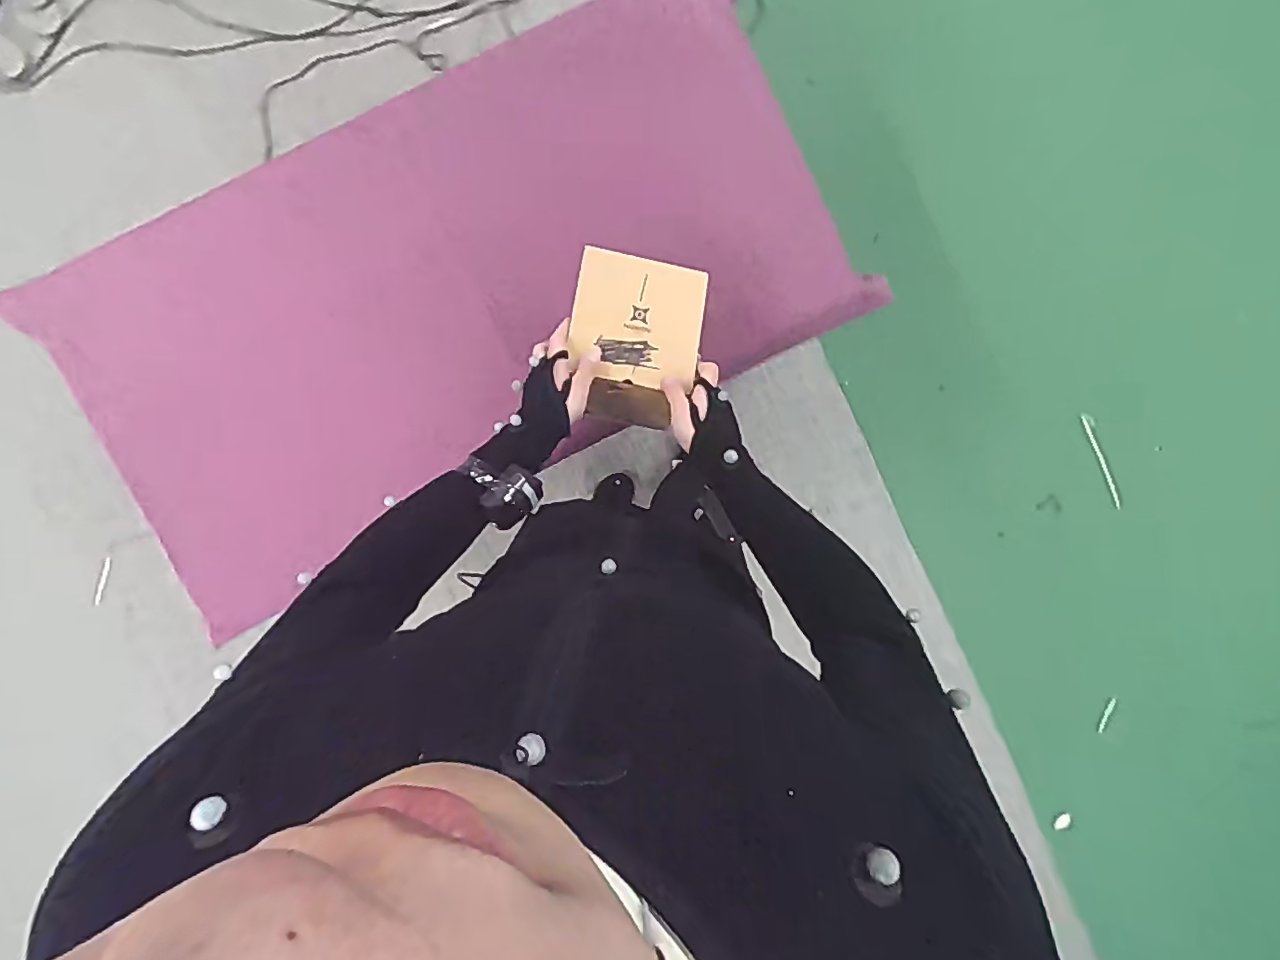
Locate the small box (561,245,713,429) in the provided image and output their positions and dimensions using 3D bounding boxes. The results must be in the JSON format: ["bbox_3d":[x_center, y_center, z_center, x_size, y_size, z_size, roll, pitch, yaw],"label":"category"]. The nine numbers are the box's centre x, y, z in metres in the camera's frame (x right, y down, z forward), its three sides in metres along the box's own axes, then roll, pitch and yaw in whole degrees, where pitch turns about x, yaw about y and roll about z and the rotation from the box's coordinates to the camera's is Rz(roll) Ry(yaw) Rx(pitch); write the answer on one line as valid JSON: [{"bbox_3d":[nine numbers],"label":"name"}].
[{"bbox_3d":[-0.011,-0.183,0.748,0.168,0.176,0.179,11,78,-7],"label":"small box"}]

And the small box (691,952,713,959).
[{"bbox_3d":[0.181,1.597,1.633,0.179,0.176,0.168,-28,94,0],"label":"small box"}]
